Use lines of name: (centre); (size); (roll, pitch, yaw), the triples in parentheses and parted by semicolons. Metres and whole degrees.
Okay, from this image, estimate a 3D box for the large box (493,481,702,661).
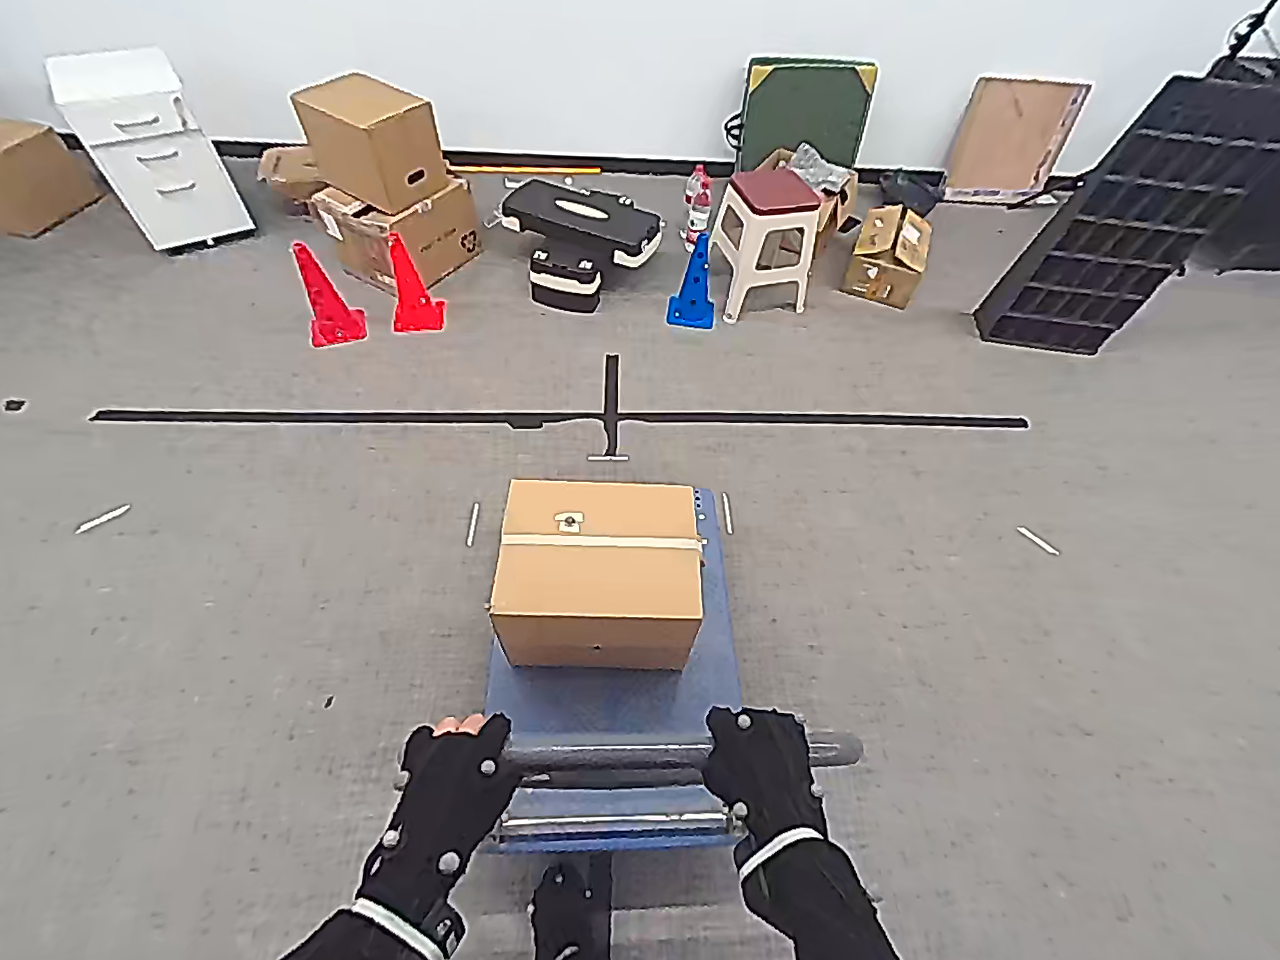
large box: (-0.086, 0.216, 1.232); (0.408, 0.320, 0.320); (2, 54, -2)
